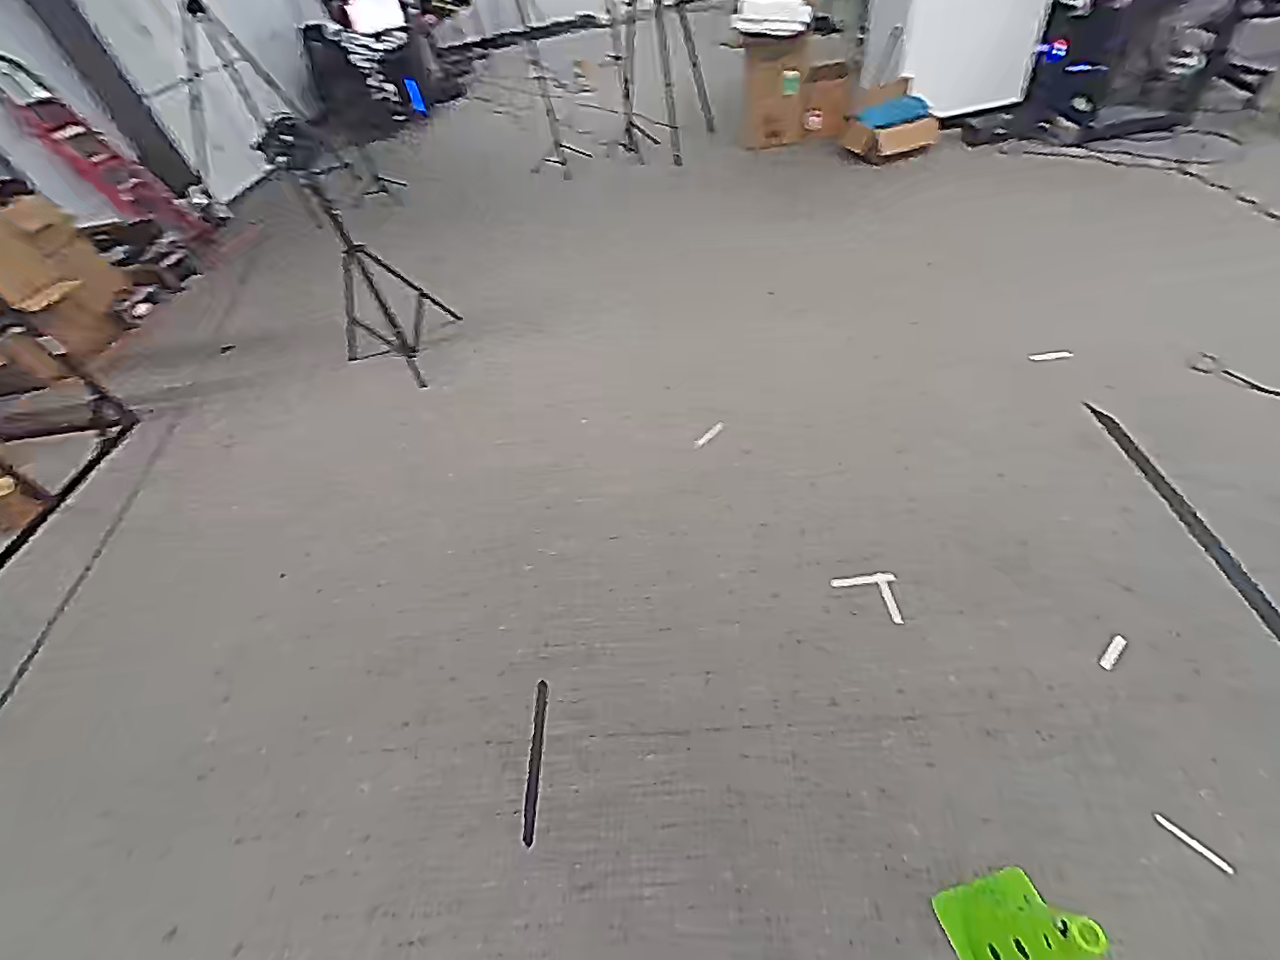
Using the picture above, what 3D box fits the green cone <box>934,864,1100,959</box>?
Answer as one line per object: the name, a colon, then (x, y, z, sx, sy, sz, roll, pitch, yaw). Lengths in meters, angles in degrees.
green cone: (0.665, 0.744, 0.888, 0.200, 0.368, 0.202, -18, 45, -4)
